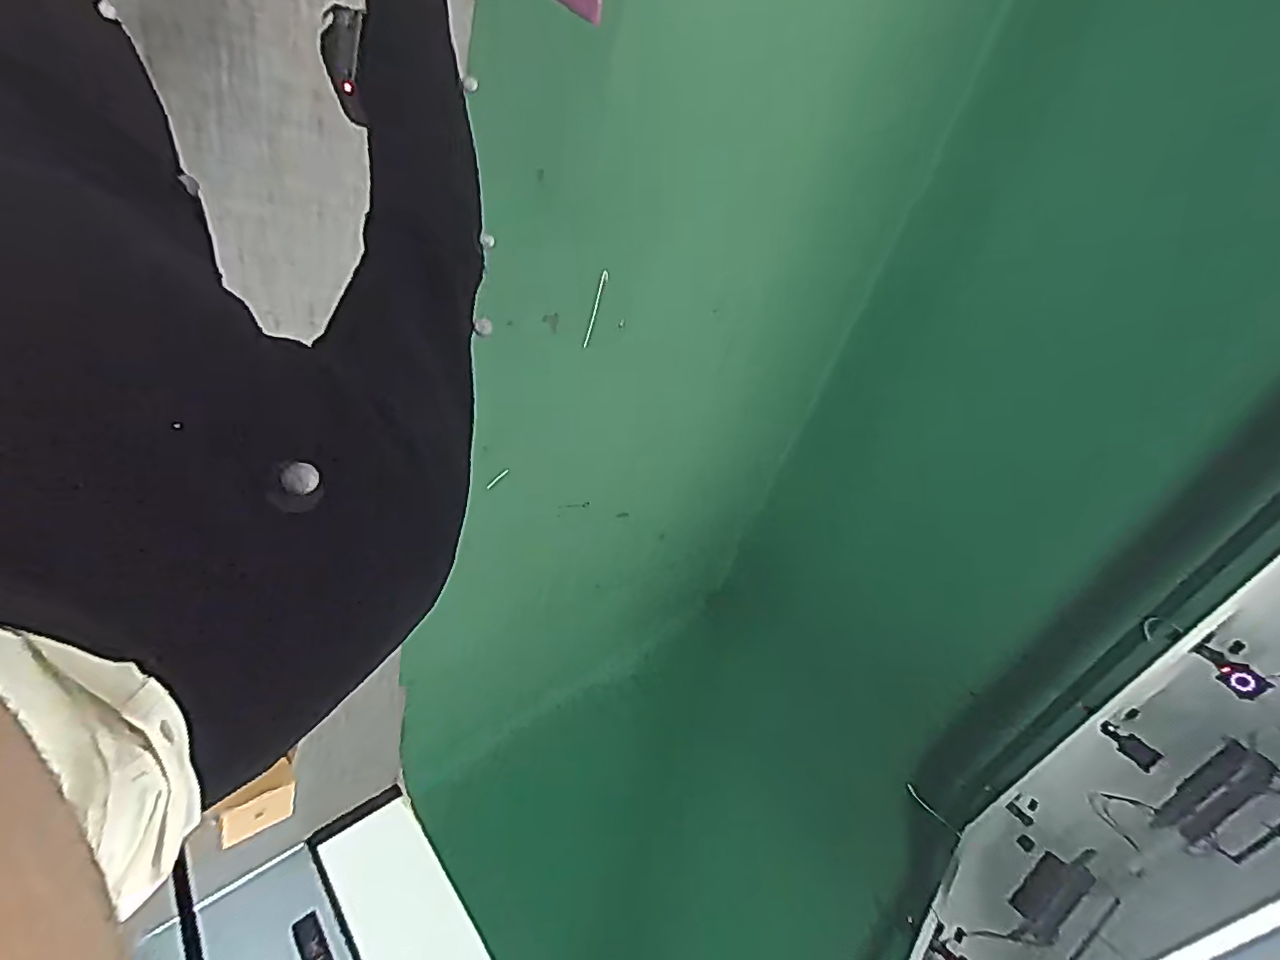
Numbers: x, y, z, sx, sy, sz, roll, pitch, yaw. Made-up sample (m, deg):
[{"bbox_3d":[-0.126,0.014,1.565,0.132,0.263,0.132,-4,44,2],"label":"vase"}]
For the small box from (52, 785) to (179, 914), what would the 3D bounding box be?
[{"bbox_3d":[-1.249,0.871,1.290,0.168,0.176,0.179,-23,140,-36],"label":"small box"}]

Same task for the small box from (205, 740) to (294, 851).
[{"bbox_3d":[-1.086,0.869,1.503,0.168,0.176,0.179,-10,132,-47],"label":"small box"}]
